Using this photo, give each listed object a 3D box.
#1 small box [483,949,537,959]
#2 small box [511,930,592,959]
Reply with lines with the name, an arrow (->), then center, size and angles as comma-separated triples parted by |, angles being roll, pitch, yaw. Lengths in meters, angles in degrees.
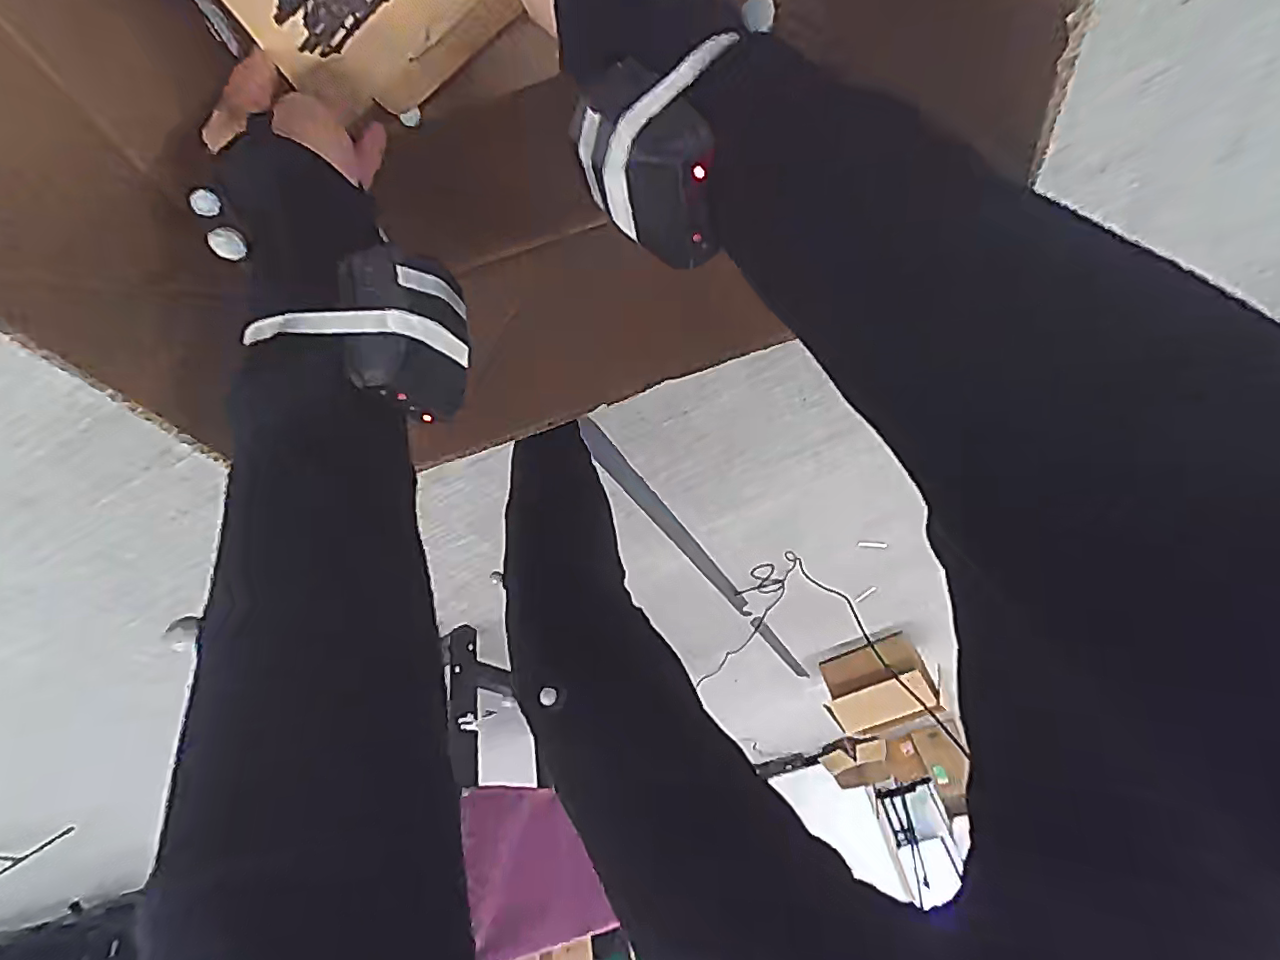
small box -> -0.352, 1.266, 1.307 | 0.179, 0.176, 0.168 | -24, 144, 13
small box -> -0.242, 1.377, 1.498 | 0.179, 0.176, 0.168 | -30, 141, 21
